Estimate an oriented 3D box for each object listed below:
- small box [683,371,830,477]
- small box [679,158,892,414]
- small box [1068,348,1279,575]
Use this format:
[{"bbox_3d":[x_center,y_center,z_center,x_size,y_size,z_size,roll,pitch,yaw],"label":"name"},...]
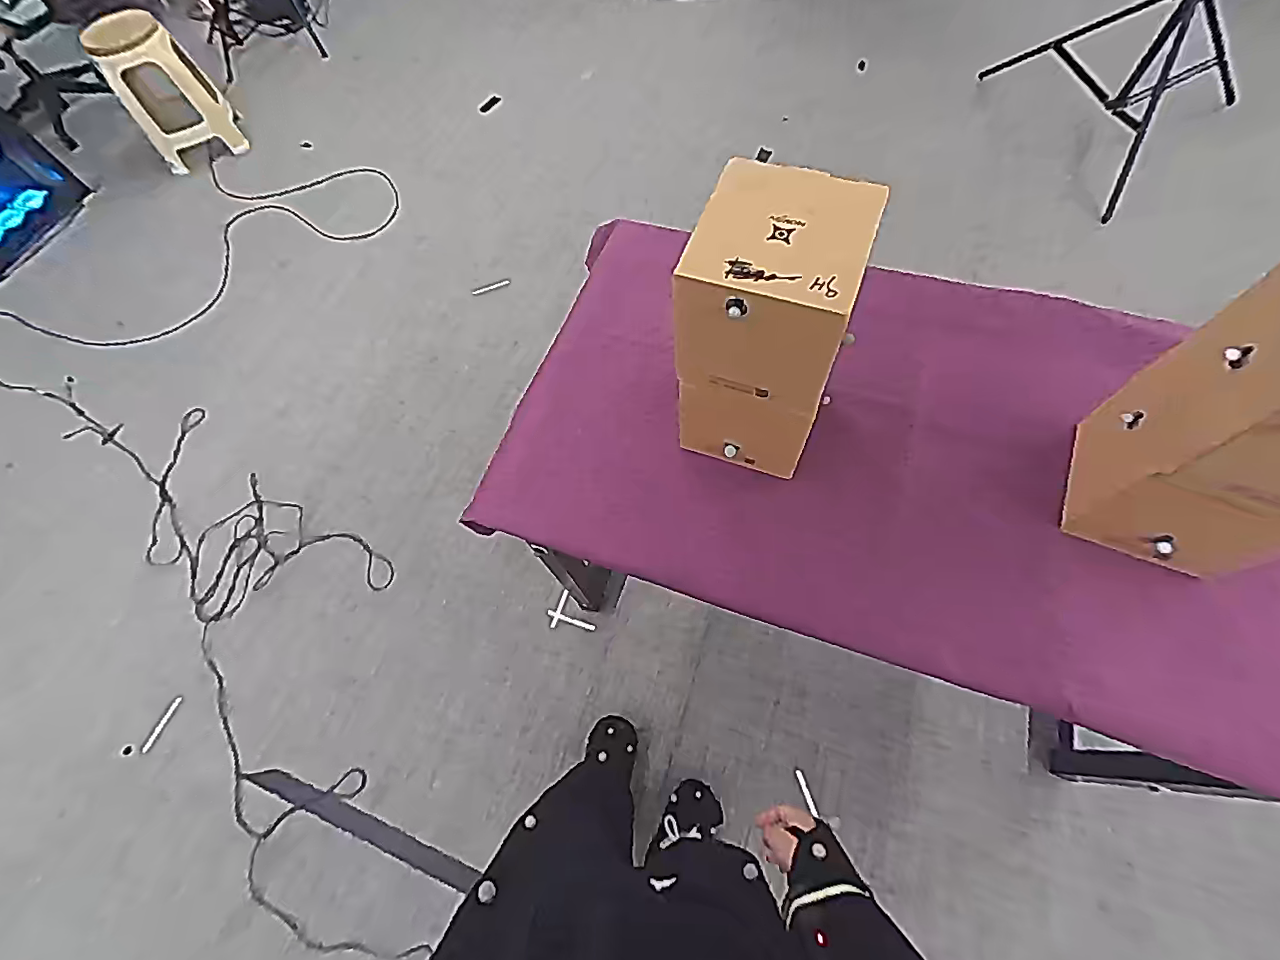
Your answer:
[{"bbox_3d":[0.161,-0.132,0.732,0.168,0.176,0.179,18,68,13],"label":"small box"},{"bbox_3d":[0.146,-0.203,0.584,0.168,0.176,0.179,19,67,14],"label":"small box"},{"bbox_3d":[0.644,-0.015,0.630,0.168,0.176,0.179,21,68,16],"label":"small box"}]
